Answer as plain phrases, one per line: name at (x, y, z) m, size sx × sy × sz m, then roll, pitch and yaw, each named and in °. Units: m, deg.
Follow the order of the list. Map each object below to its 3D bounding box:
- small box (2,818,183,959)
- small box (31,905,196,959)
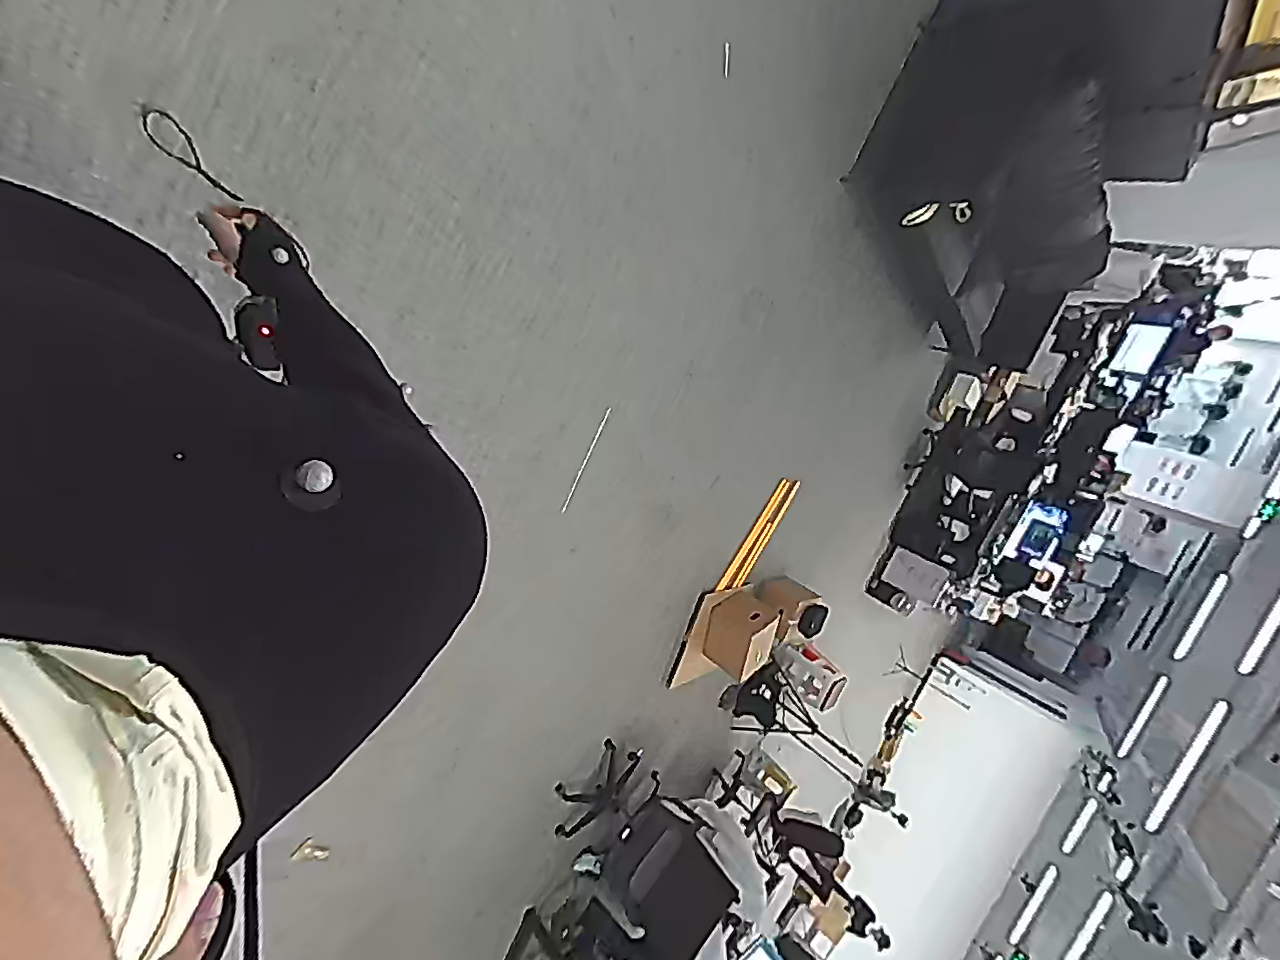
small box at (-0.802, 0.649, 0.792) m, size 0.168 × 0.176 × 0.179 m, roll 11°, pitch 103°, yaw -49°
small box at (-0.687, 0.711, 0.692) m, size 0.168 × 0.176 × 0.179 m, roll 10°, pitch 104°, yaw -49°
